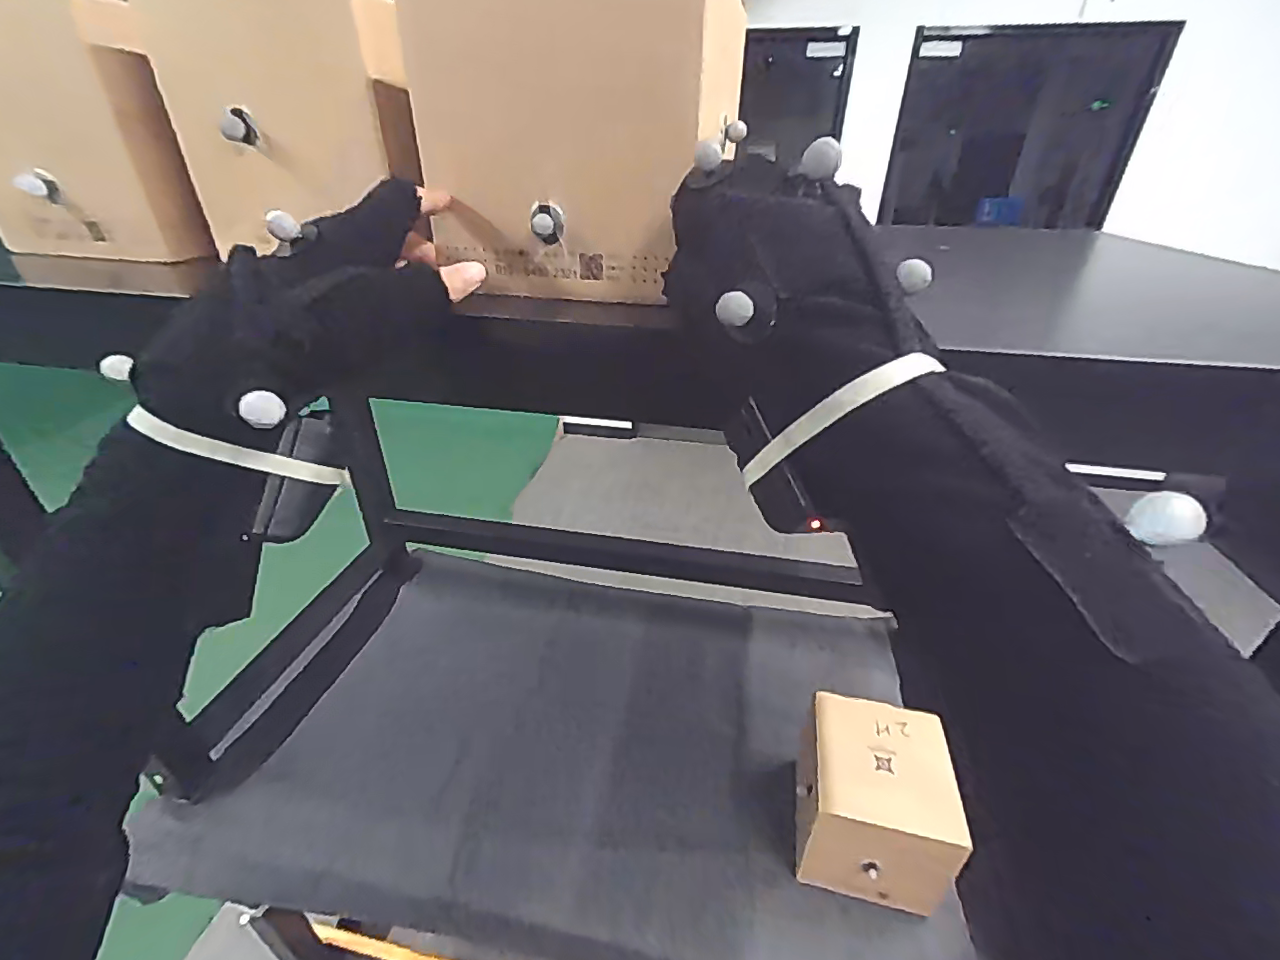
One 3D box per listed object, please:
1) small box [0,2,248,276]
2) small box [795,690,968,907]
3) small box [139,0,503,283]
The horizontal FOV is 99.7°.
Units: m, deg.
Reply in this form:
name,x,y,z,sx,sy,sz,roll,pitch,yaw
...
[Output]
name,x,y,z,sx,sy,sz,roll,pitch,yaw
small box,-0.419,-0.285,0.469,0.168,0.176,0.179,7,32,10
small box,0.306,0.421,0.722,0.168,0.176,0.179,9,31,12
small box,-0.225,-0.263,0.442,0.168,0.176,0.179,7,31,11
